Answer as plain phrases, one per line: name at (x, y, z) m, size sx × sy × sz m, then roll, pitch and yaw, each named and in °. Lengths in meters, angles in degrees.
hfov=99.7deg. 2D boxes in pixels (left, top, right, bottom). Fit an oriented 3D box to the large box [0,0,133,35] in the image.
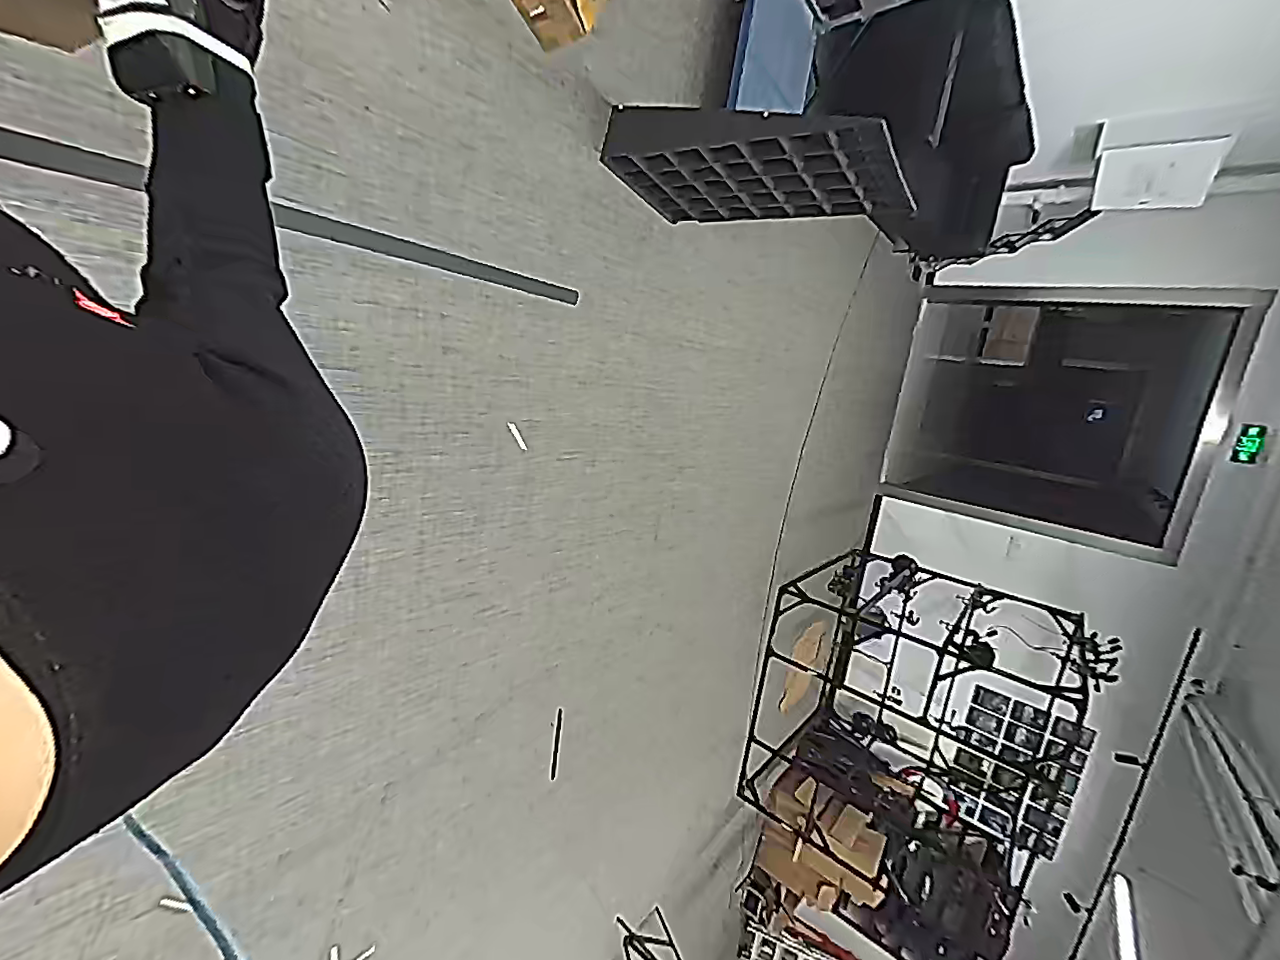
large box at (-0.551, -0.490, 0.253) m, size 0.408 × 0.320 × 0.320 m, roll -17°, pitch 124°, yaw -51°
